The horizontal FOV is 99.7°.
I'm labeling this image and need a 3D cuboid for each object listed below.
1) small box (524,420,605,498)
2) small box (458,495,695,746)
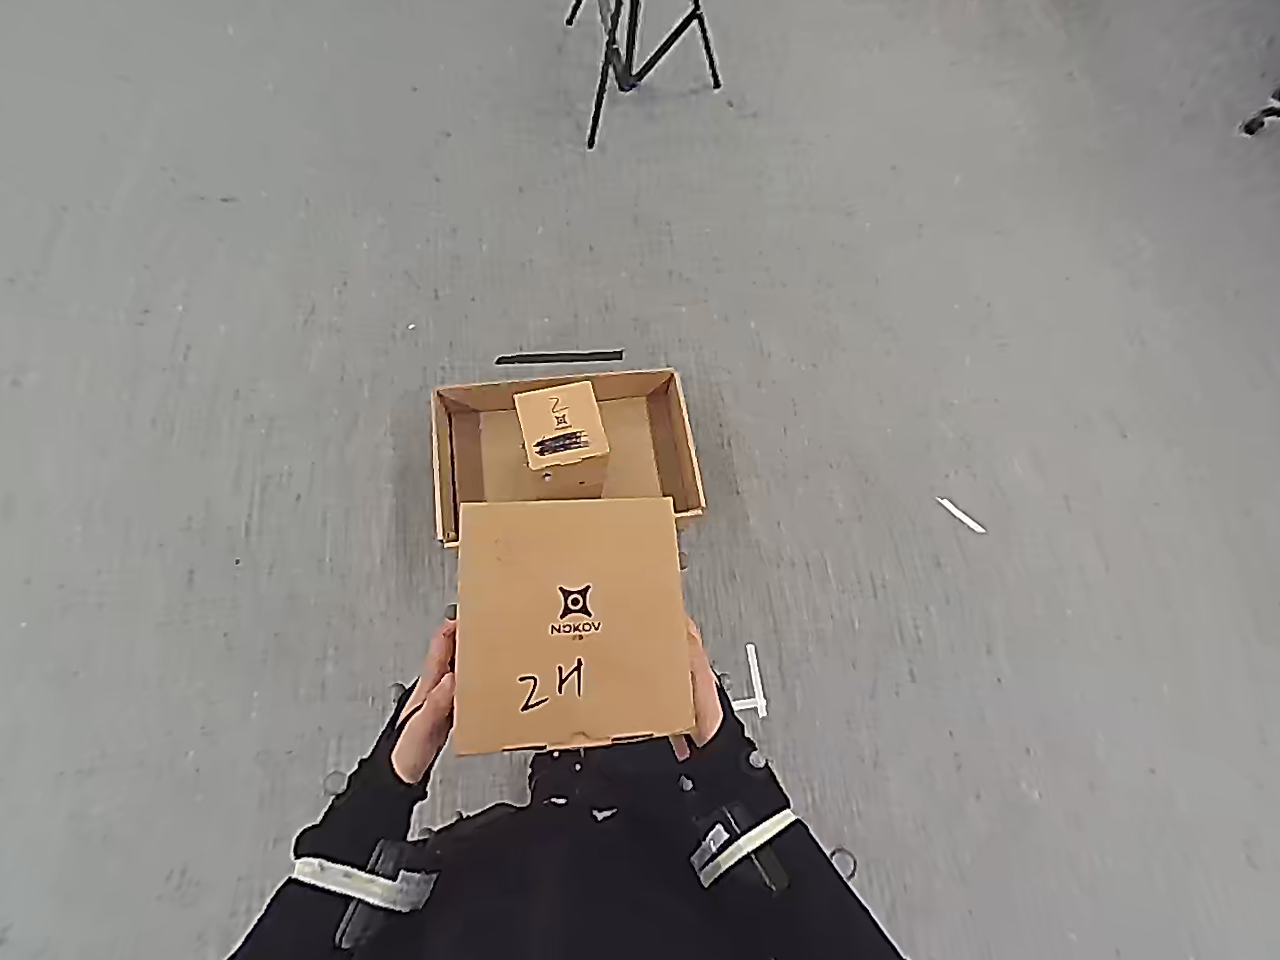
[{"bbox_3d":[-0.190,-0.026,1.346,0.168,0.176,0.179,-12,74,-11],"label":"small box"},{"bbox_3d":[-0.059,0.122,0.473,0.168,0.176,0.179,-1,71,-10],"label":"small box"}]
